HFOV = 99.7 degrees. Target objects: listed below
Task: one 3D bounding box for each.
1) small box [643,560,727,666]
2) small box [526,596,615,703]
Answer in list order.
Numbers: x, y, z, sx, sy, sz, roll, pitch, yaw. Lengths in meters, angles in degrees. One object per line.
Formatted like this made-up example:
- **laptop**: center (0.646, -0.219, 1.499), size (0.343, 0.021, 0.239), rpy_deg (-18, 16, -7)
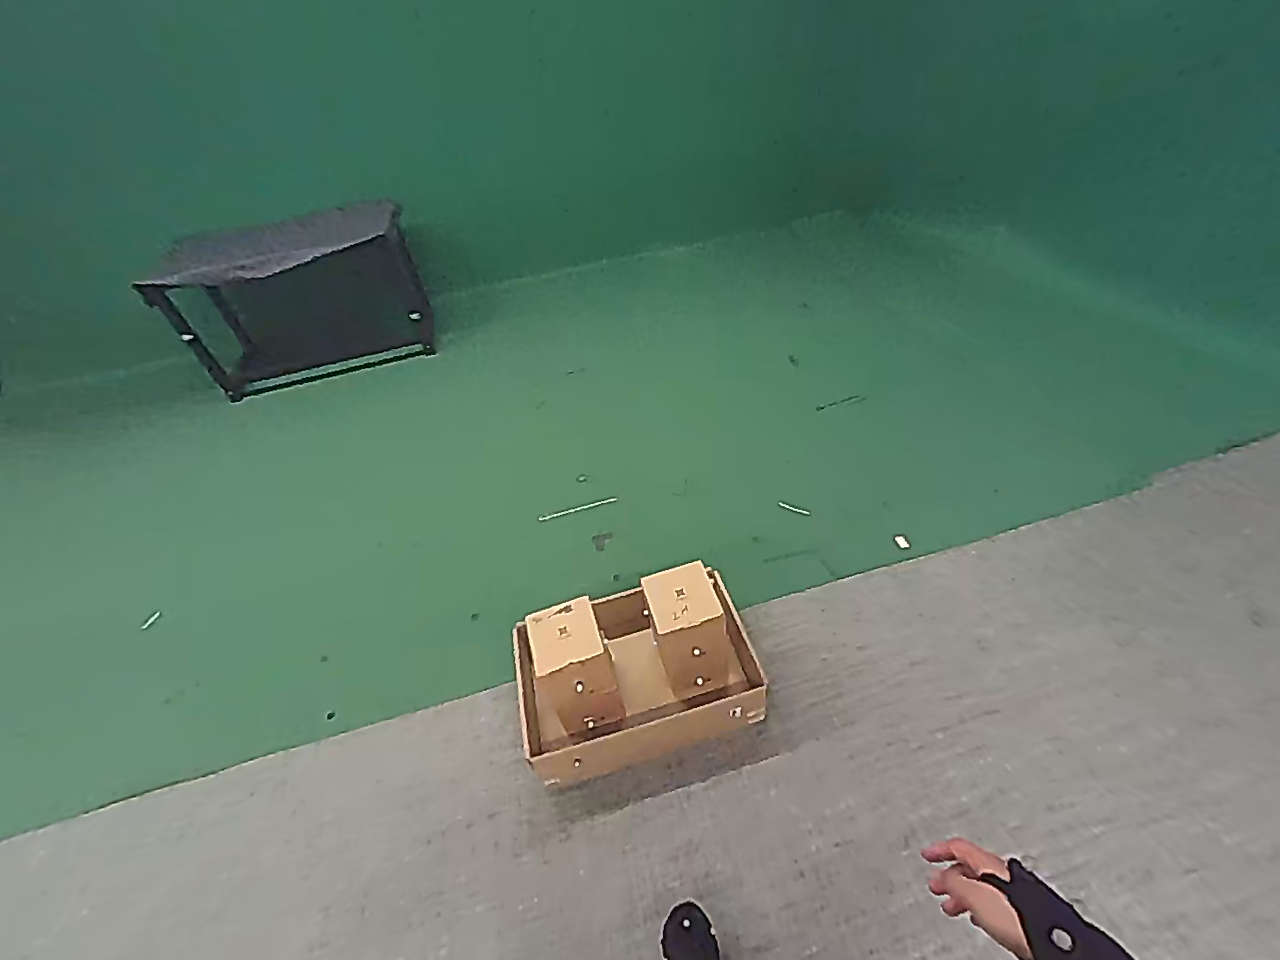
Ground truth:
- **small box**: center (0.113, 0.339, 1.373), size (0.168, 0.176, 0.179), rpy_deg (-16, 44, -5)
- **small box**: center (-0.169, 0.425, 1.335), size (0.168, 0.176, 0.179), rpy_deg (-17, 44, -8)
